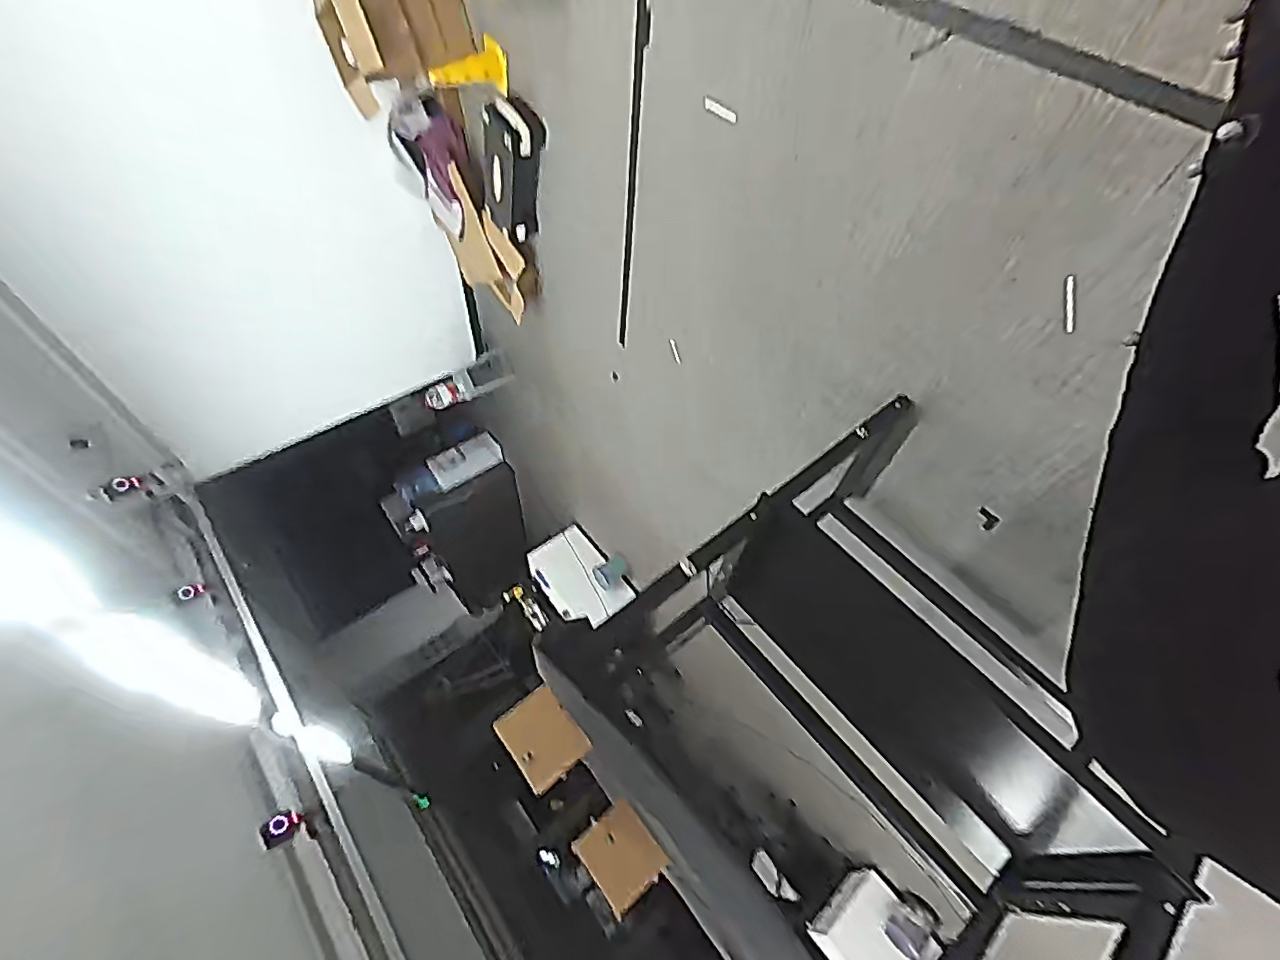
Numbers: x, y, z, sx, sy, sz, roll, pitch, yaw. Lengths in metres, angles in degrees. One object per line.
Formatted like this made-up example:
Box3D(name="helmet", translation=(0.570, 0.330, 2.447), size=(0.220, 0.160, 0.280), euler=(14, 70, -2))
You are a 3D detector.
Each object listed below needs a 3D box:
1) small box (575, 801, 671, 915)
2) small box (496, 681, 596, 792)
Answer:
Box3D(name="small box", translation=(-0.048, 0.940, 1.363), size=(0.179, 0.176, 0.168), euler=(47, 154, 23))
Box3D(name="small box", translation=(-0.218, 0.609, 1.288), size=(0.168, 0.176, 0.179), euler=(47, 154, 20))
